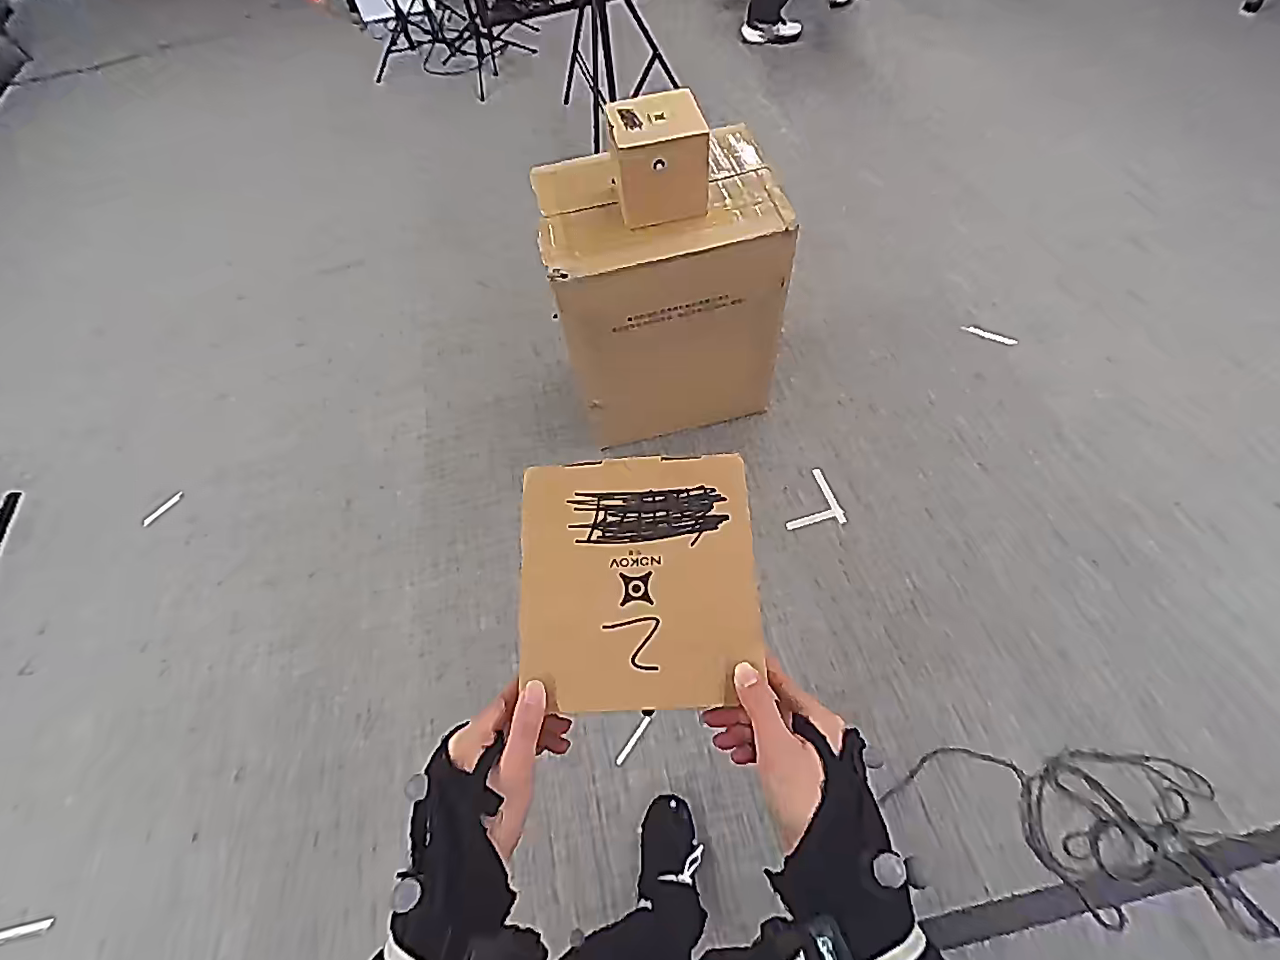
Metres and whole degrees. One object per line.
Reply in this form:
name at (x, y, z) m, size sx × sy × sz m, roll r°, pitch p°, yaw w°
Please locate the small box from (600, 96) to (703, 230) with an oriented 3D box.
small box at (0.026, -0.640, 1.104) m, size 0.179 × 0.176 × 0.168 m, roll -12°, pitch 60°, yaw -2°
